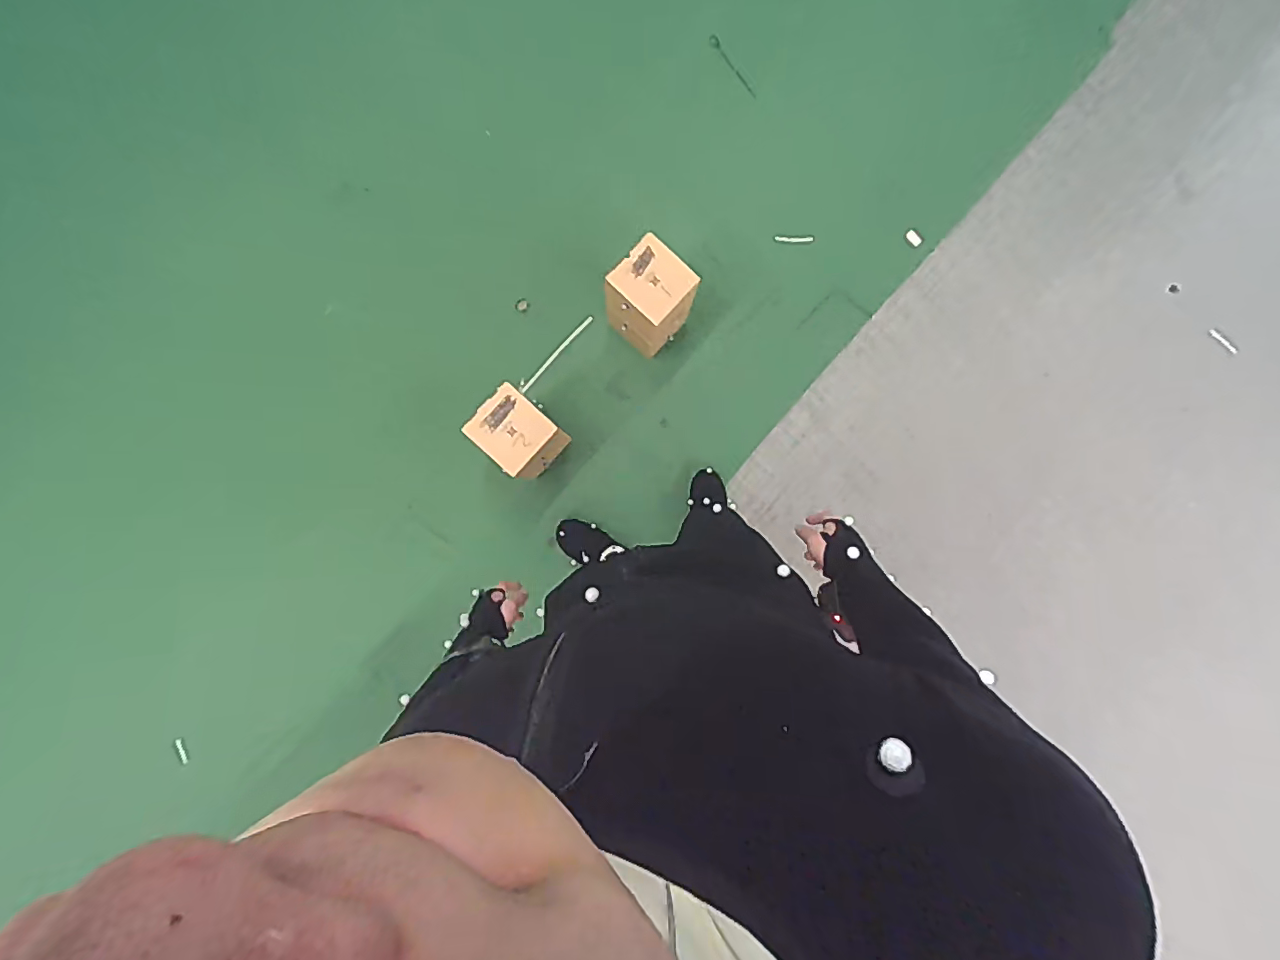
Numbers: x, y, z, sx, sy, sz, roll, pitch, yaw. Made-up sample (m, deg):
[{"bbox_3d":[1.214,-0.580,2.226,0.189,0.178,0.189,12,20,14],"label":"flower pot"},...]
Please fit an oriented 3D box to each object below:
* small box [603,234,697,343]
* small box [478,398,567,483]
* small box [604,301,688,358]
[{"bbox_3d":[0.021,-0.485,1.401,0.179,0.176,0.168,42,87,-1],"label":"small box"},{"bbox_3d":[-0.326,-0.108,1.545,0.179,0.176,0.168,41,88,0],"label":"small box"},{"bbox_3d":[0.013,-0.479,1.565,0.179,0.176,0.168,43,87,-1],"label":"small box"}]
